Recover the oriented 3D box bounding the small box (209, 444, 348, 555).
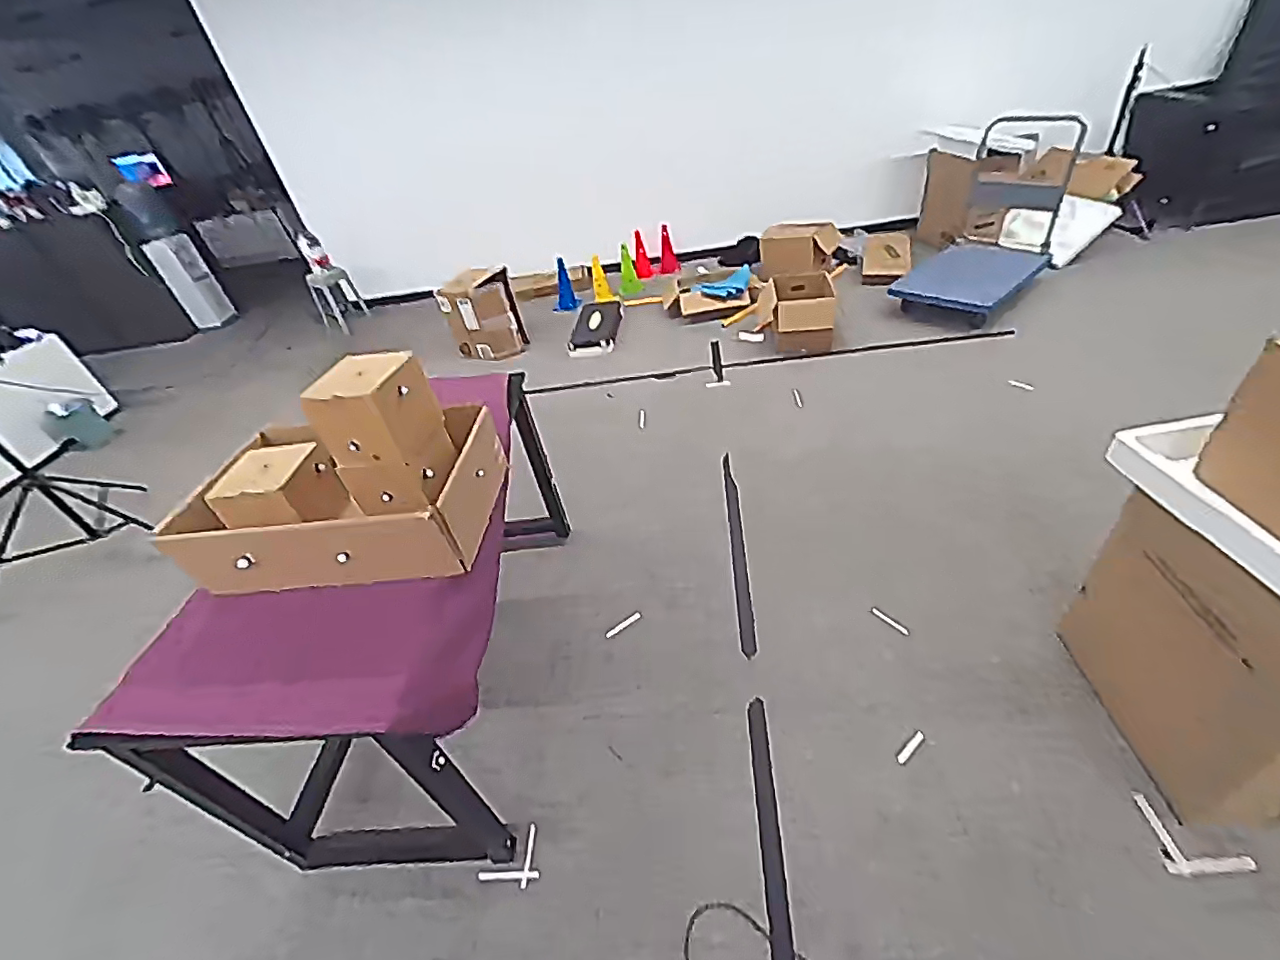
[{"bbox_3d":[-0.790,0.043,1.209,0.168,0.176,0.179,-7,38,4],"label":"small box"}]

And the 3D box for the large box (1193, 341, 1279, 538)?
[{"bbox_3d":[1.287,-0.028,0.880,0.320,0.320,0.408,-8,37,4],"label":"large box"}]
